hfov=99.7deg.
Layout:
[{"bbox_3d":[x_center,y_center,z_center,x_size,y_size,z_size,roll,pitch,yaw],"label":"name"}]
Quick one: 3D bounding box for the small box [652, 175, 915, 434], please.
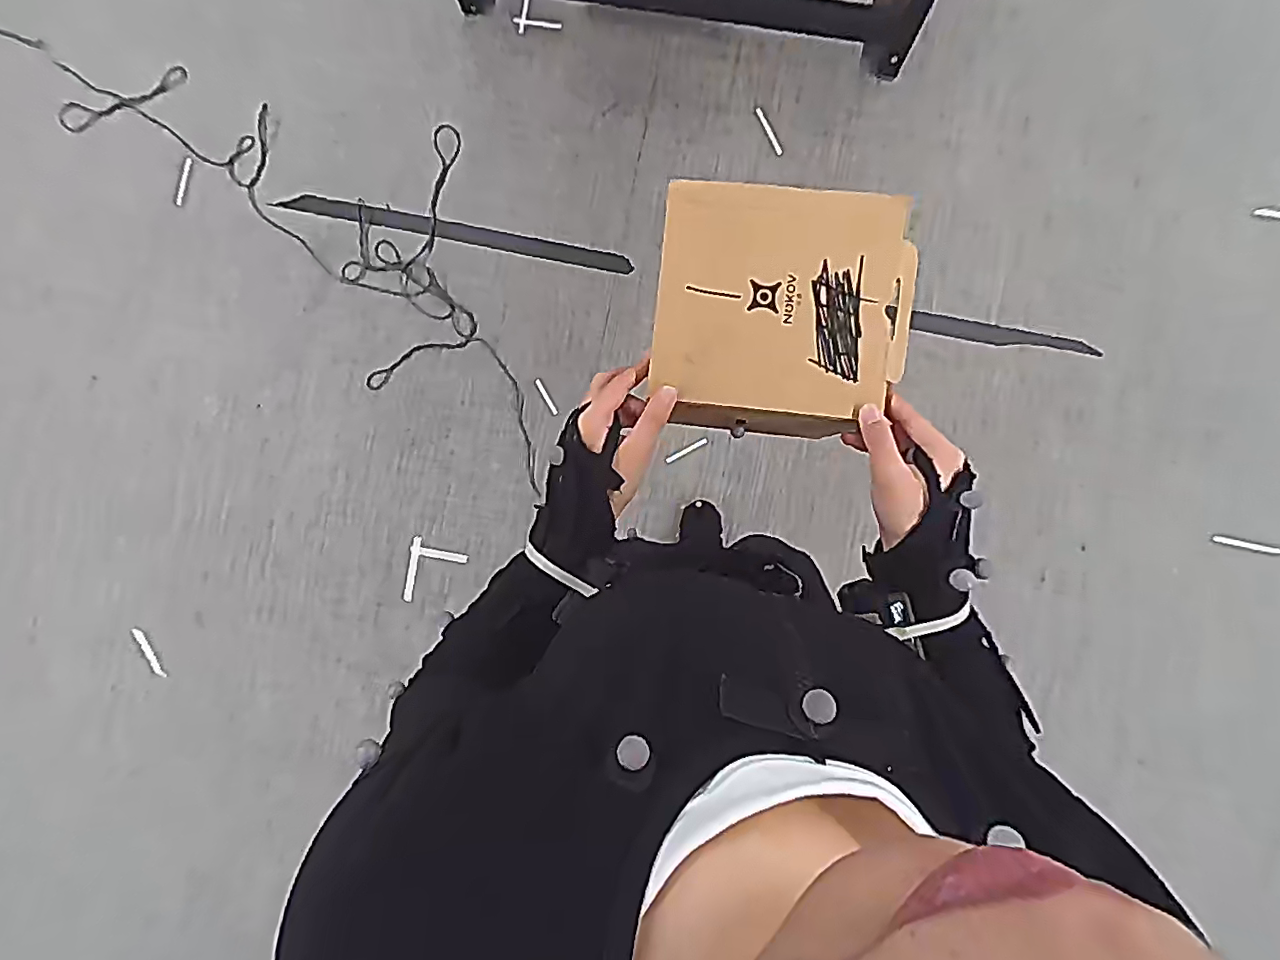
[{"bbox_3d":[0.107,-0.133,0.471,0.179,0.176,0.168,6,90,3],"label":"small box"}]
